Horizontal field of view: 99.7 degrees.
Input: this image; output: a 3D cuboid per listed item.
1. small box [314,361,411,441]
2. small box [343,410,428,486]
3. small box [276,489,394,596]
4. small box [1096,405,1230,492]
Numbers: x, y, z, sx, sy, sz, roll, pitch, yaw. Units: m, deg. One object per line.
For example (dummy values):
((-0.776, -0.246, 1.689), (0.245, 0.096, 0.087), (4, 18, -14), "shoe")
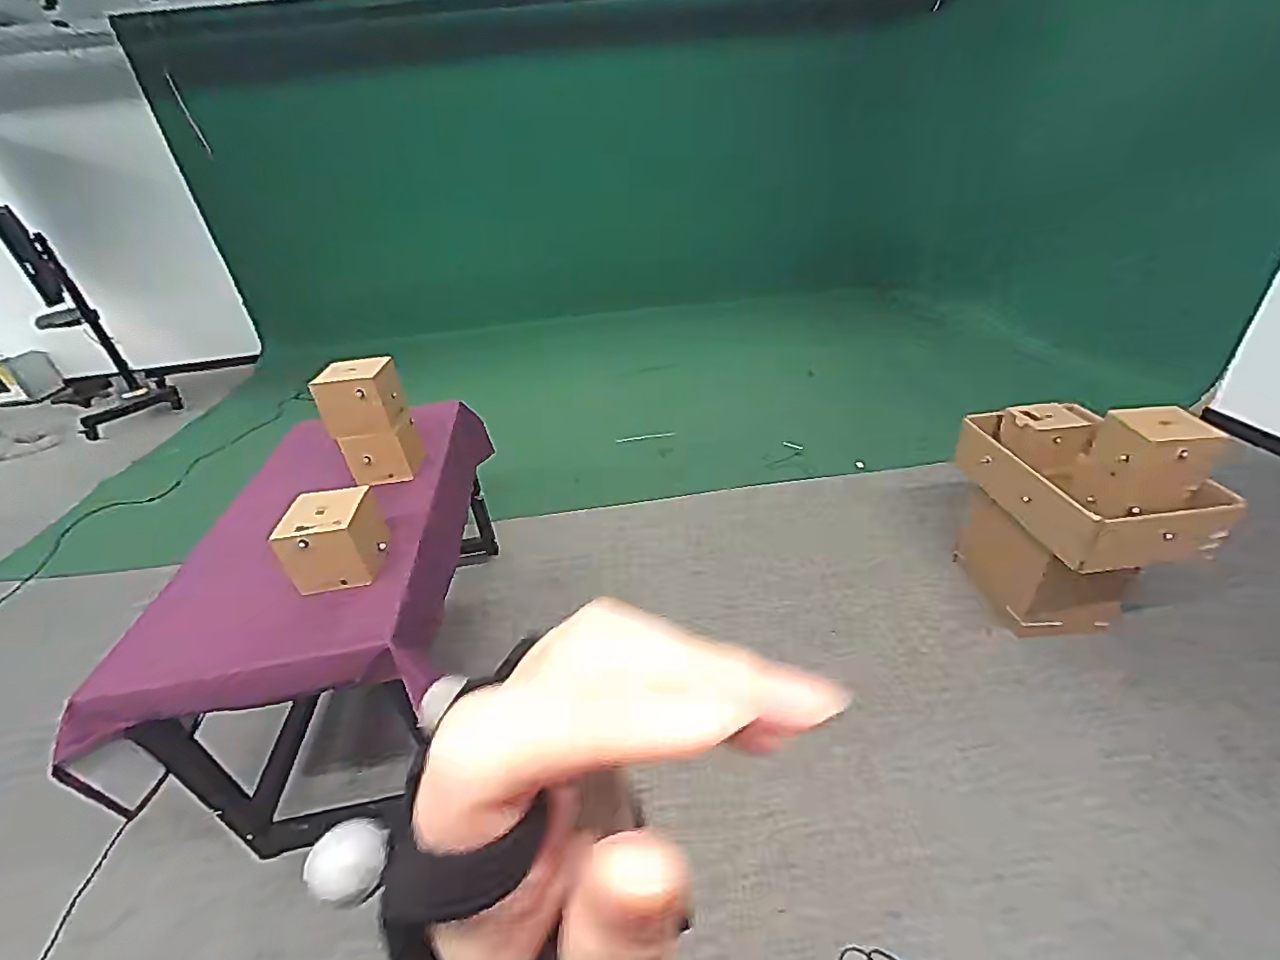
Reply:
((-0.790, -0.228, 1.563), (0.179, 0.176, 0.168), (-7, 32, 0), "small box")
((-0.767, -0.092, 1.652), (0.168, 0.176, 0.179), (-8, 32, -2), "small box")
((-0.702, 0.145, 1.272), (0.168, 0.176, 0.179), (-9, 32, -2), "small box")
((1.344, -0.081, 1.411), (0.179, 0.176, 0.168), (-3, 34, 4), "small box")
